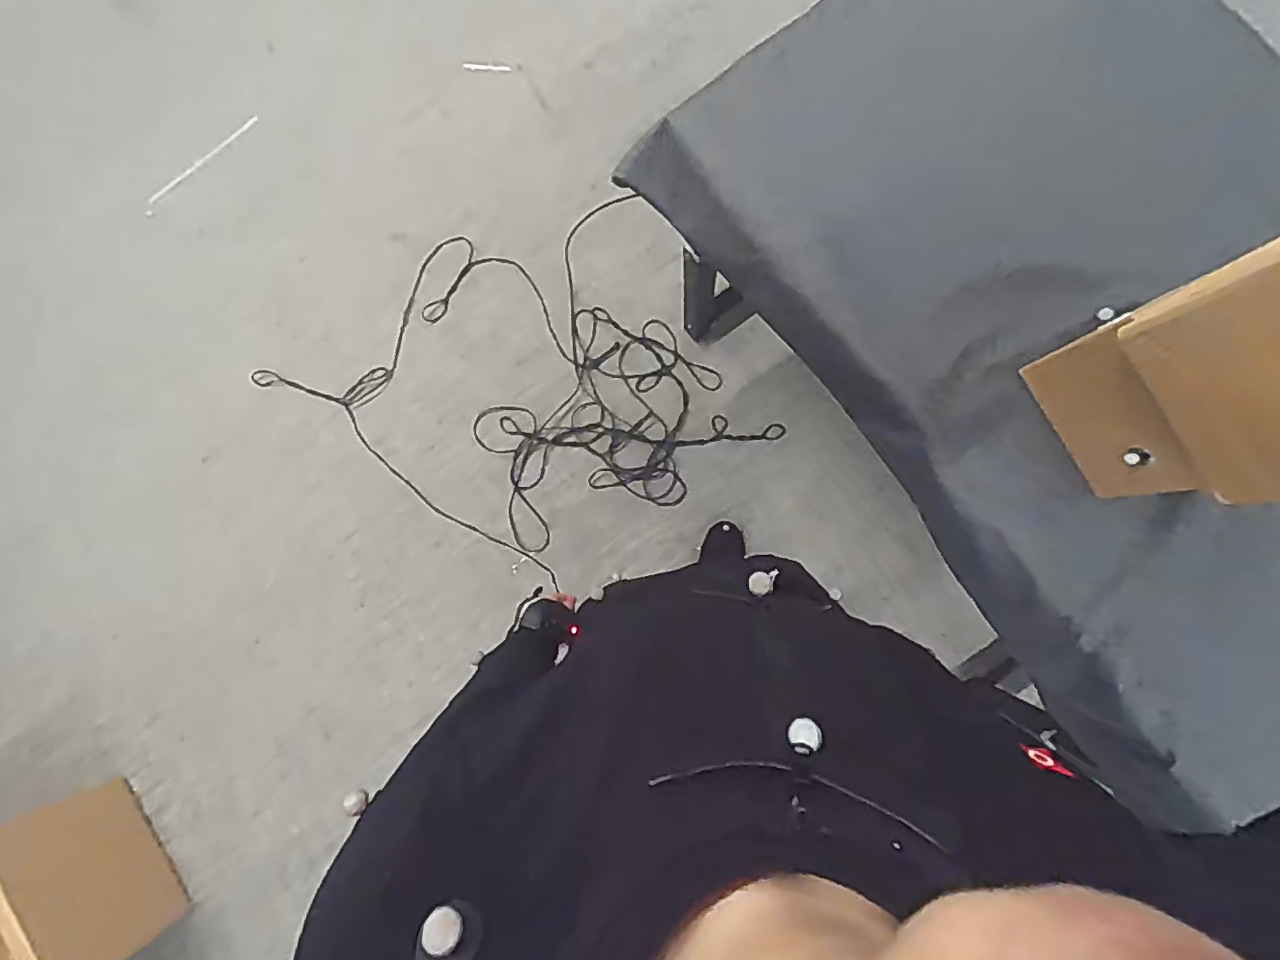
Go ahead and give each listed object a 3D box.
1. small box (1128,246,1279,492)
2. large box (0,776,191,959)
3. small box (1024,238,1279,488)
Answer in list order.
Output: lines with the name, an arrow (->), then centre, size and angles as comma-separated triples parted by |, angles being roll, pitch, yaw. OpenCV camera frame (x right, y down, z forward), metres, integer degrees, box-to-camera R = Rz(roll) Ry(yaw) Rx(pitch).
small box -> 0.530, -0.104, 0.395 | 0.168, 0.176, 0.179 | -27, 85, 1
large box -> -1.403, 1.020, 1.278 | 0.320, 0.320, 0.408 | -37, 82, 0
small box -> 0.558, -0.101, 0.556 | 0.168, 0.176, 0.179 | -28, 83, 0
